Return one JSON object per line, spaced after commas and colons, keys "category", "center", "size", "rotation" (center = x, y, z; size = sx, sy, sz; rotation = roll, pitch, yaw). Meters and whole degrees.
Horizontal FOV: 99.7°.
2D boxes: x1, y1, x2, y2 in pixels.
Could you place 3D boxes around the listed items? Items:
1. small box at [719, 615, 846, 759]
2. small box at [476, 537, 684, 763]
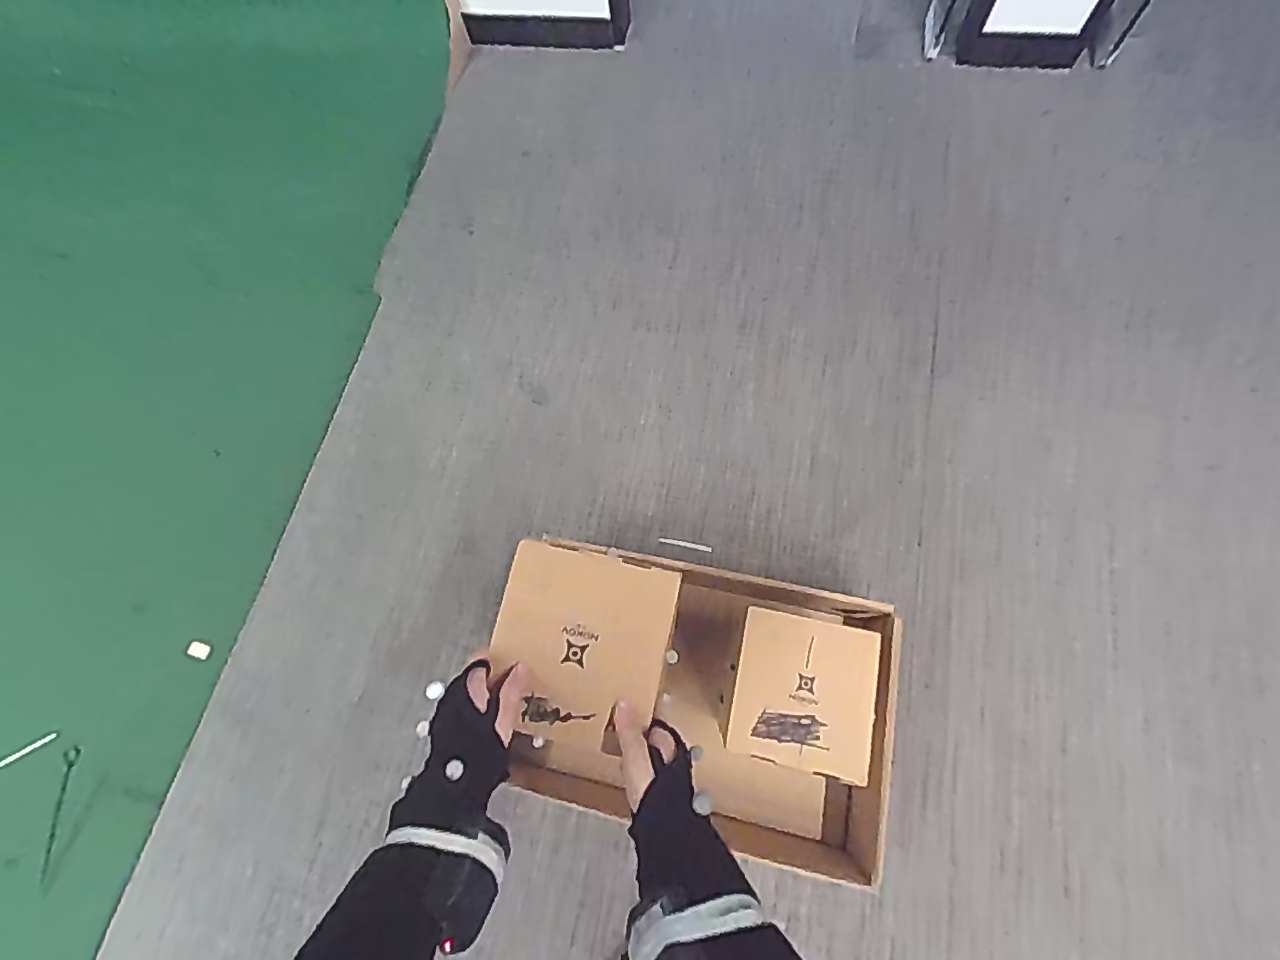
{"category": "small box", "center": [0.225, 0.331, 0.888], "size": [0.168, 0.176, 0.179], "rotation": [10, 74, 9]}
{"category": "small box", "center": [-0.052, 0.174, 0.588], "size": [0.168, 0.176, 0.179], "rotation": [12, 78, 6]}
